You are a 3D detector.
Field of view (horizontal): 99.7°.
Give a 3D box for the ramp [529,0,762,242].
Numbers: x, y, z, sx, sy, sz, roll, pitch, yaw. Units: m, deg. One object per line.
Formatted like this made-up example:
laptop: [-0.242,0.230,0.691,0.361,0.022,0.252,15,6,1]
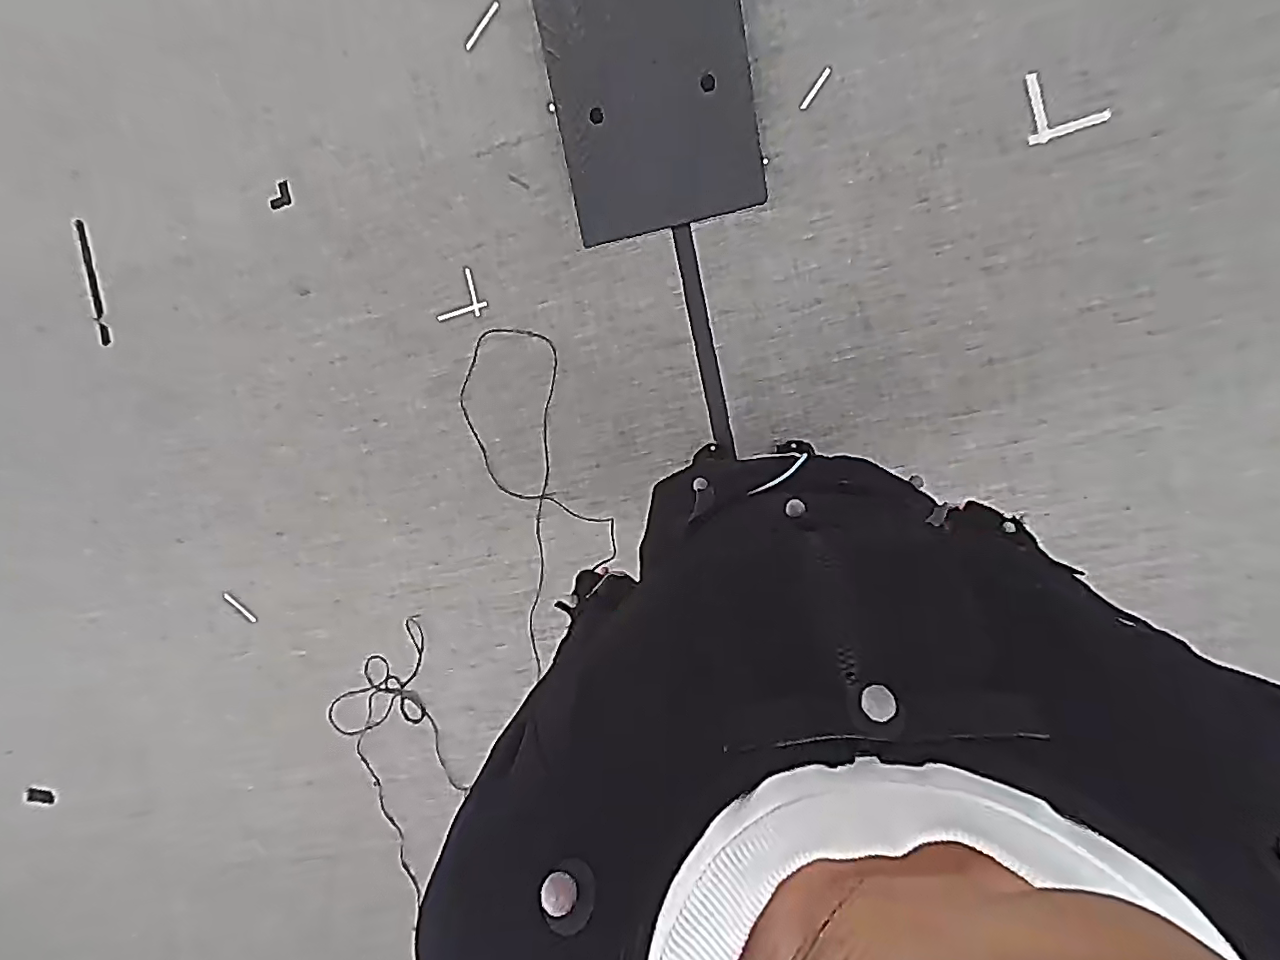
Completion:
ramp: [-0.020,-1.149,1.298,0.509,0.206,0.991,-11,93,9]
